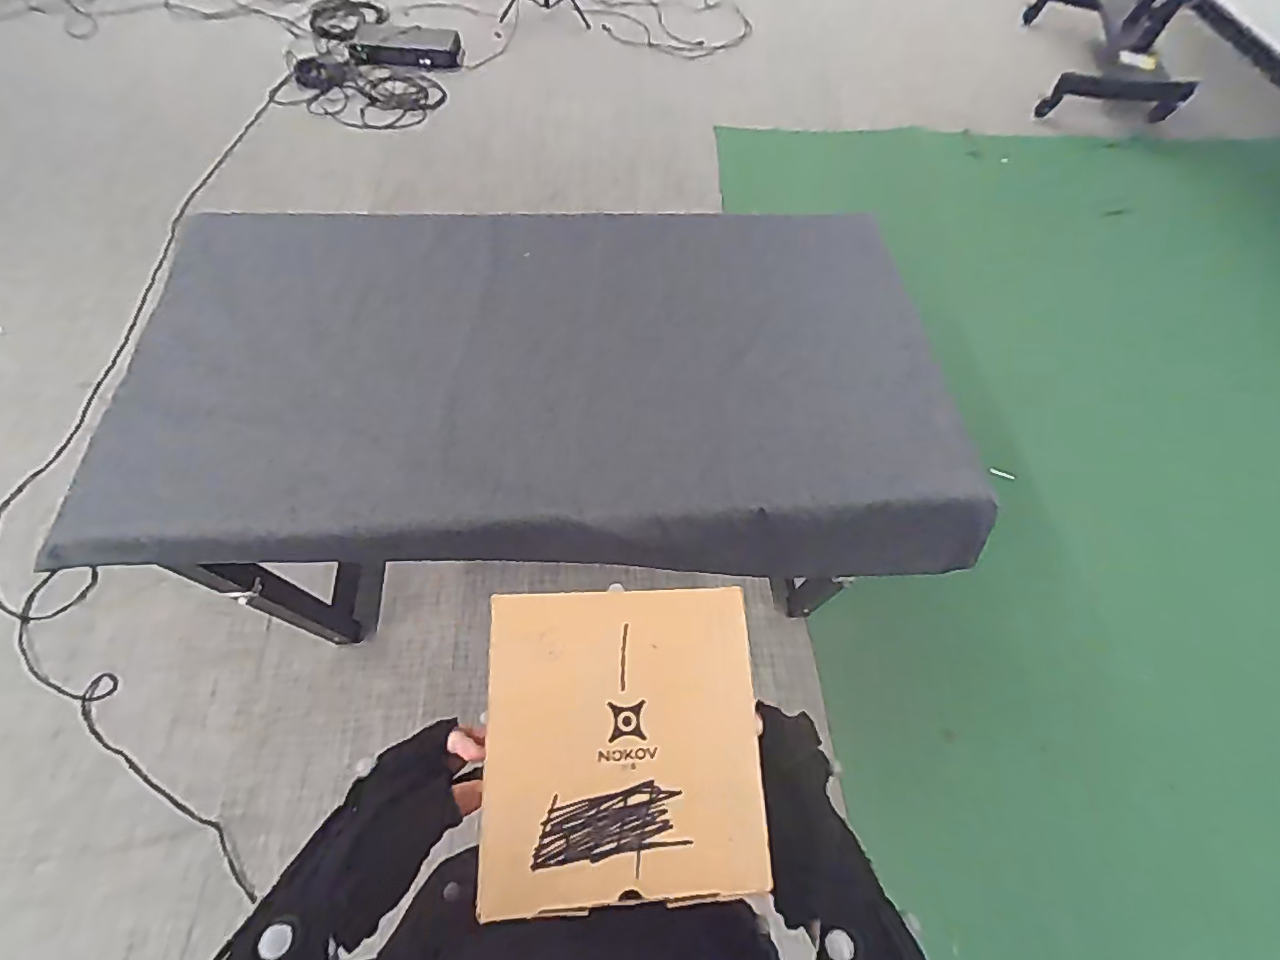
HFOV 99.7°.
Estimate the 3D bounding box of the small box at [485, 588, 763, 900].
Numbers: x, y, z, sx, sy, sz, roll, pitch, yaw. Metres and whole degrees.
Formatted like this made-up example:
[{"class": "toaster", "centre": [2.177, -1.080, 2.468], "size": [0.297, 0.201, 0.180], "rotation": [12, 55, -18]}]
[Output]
[{"class": "small box", "centre": [-0.016, 0.180, 0.413], "size": [0.168, 0.176, 0.179], "rotation": [2, 72, -7]}]
